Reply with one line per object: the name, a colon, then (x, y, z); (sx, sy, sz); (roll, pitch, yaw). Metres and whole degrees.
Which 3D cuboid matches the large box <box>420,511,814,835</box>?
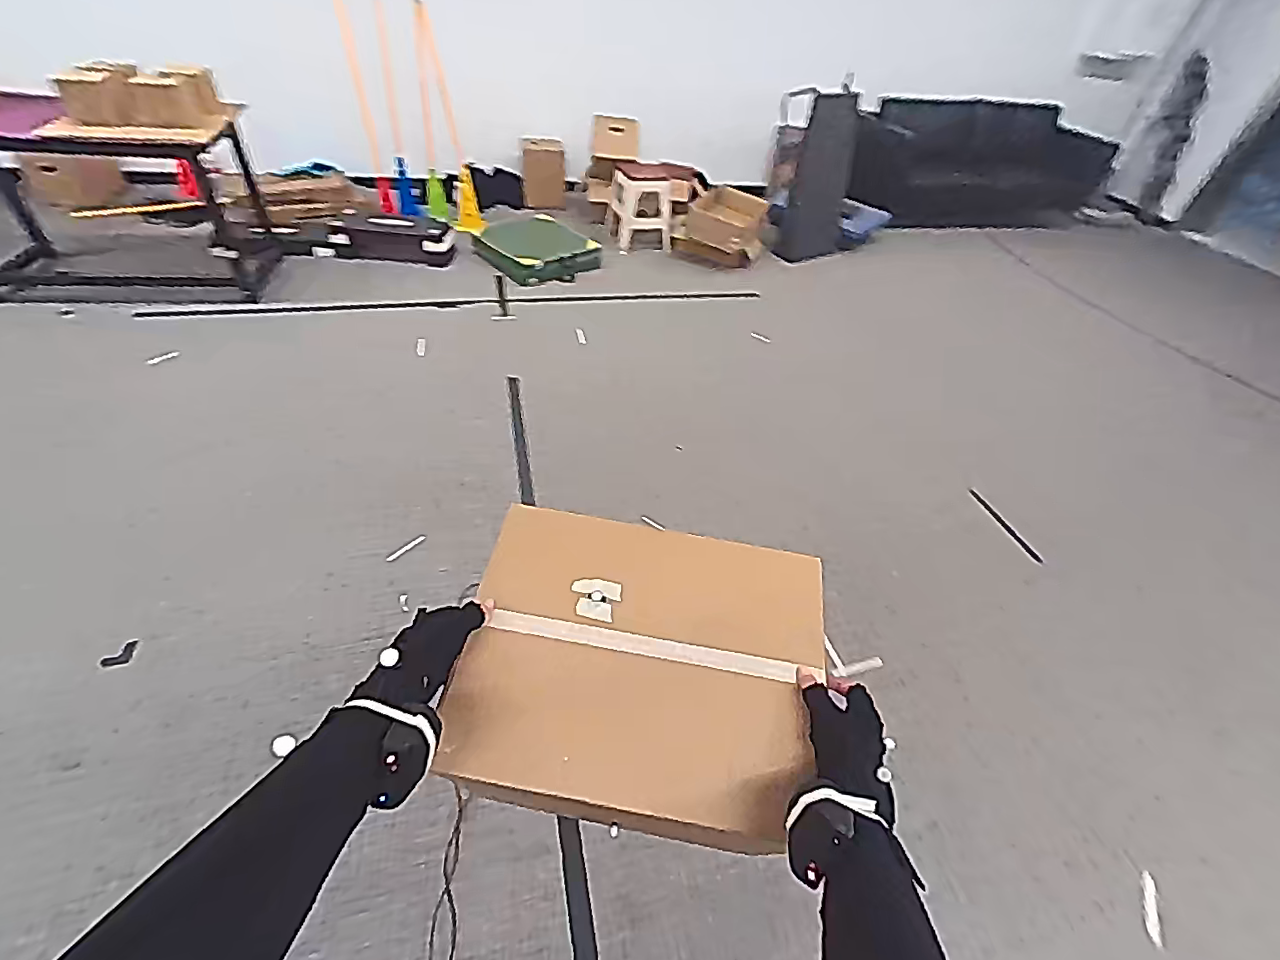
large box: (-0.011, 0.275, 0.740); (0.408, 0.320, 0.320); (9, 54, 2)
